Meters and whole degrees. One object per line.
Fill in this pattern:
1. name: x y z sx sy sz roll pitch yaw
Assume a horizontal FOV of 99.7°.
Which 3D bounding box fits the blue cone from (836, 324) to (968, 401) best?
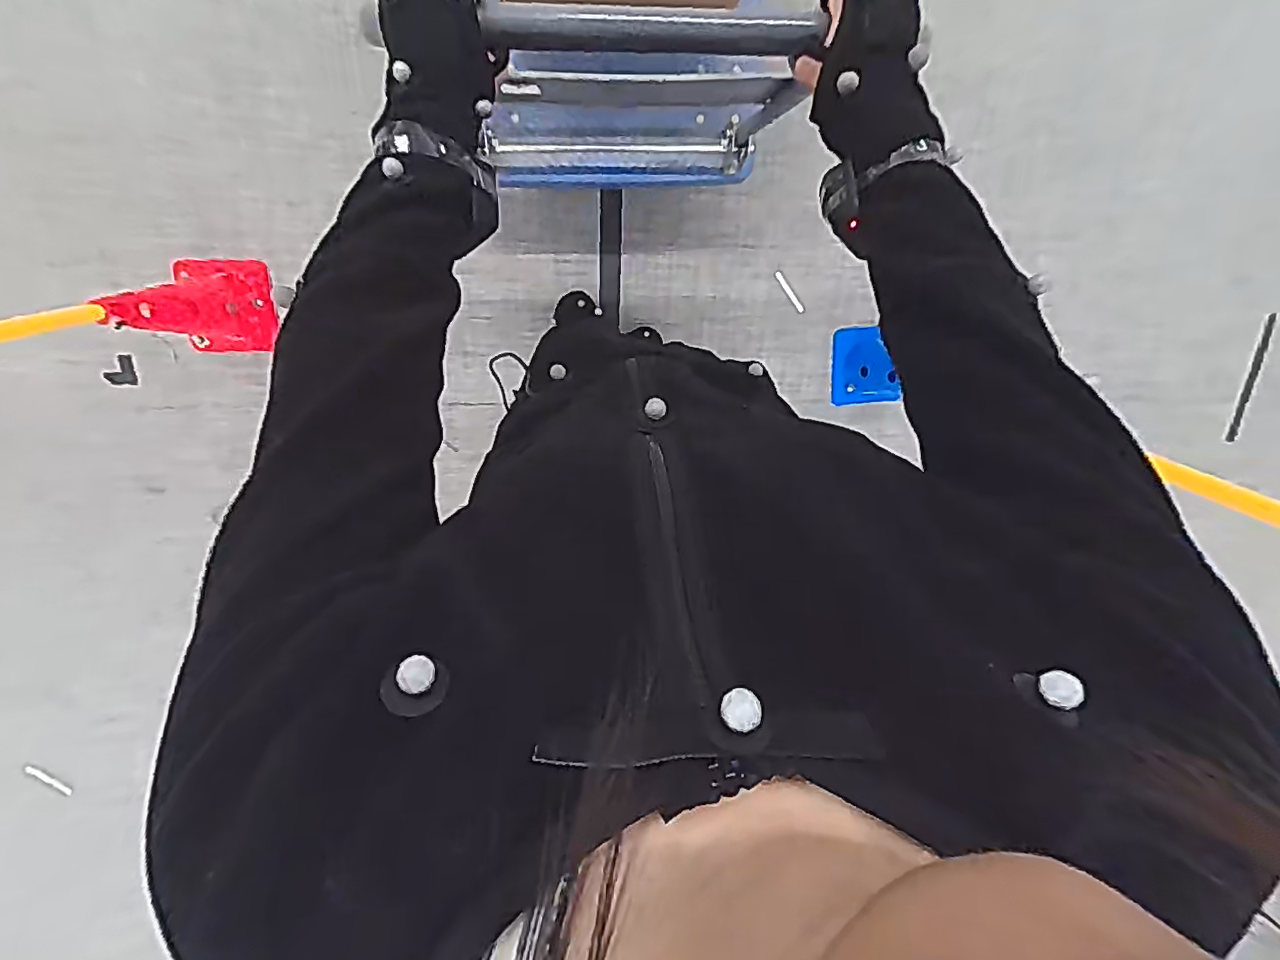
1. blue cone: 0.622 -0.256 1.258 0.193 0.380 0.192 -5 108 -5
